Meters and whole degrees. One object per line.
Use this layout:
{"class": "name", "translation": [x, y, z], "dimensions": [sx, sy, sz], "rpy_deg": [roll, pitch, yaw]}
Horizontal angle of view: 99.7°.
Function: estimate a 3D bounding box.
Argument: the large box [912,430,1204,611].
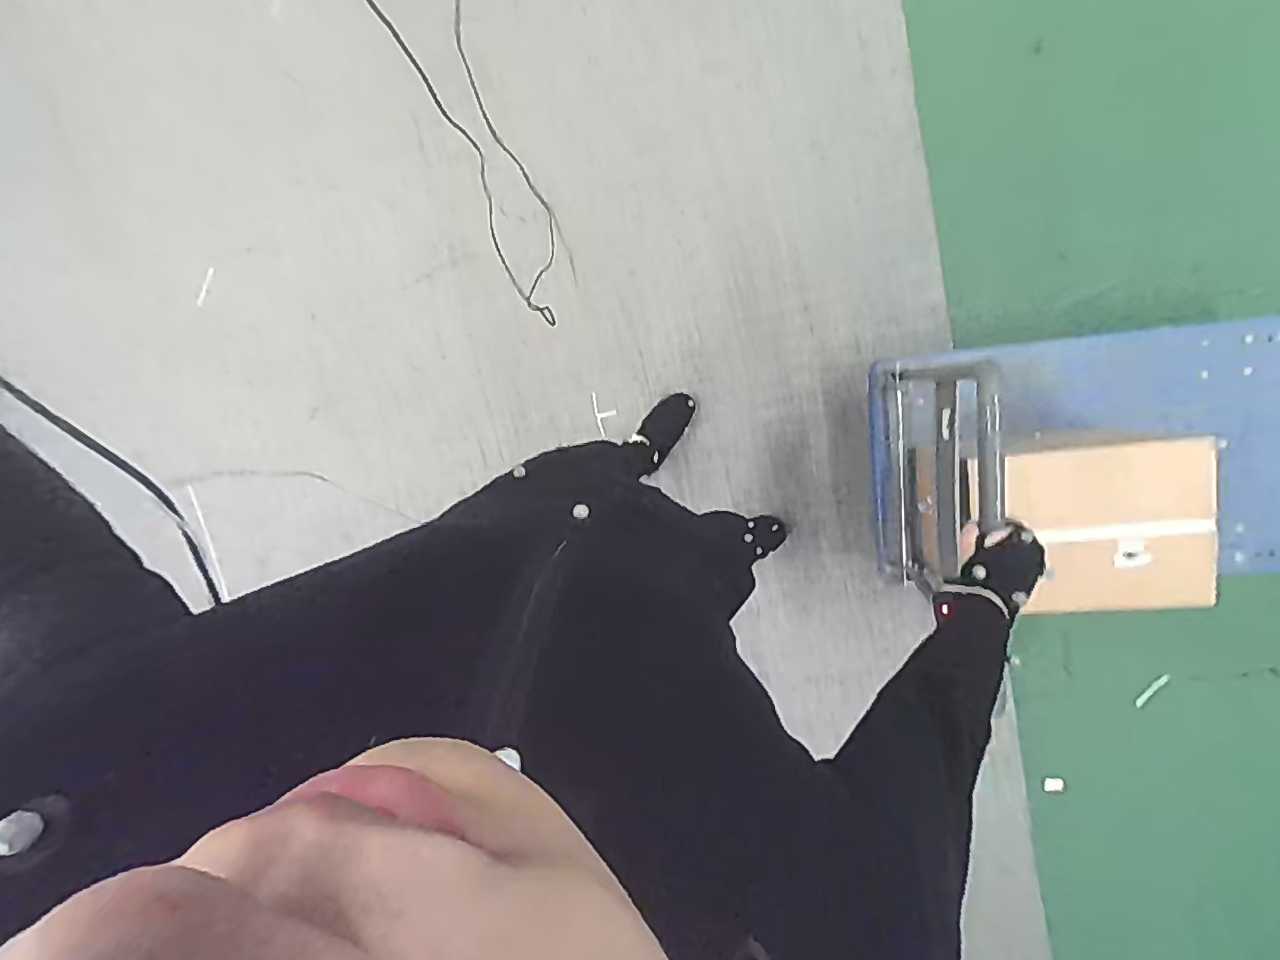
{"class": "large box", "translation": [0.857, 0.071, 1.168], "dimensions": [0.408, 0.320, 0.320], "rpy_deg": [-5, 98, 10]}
